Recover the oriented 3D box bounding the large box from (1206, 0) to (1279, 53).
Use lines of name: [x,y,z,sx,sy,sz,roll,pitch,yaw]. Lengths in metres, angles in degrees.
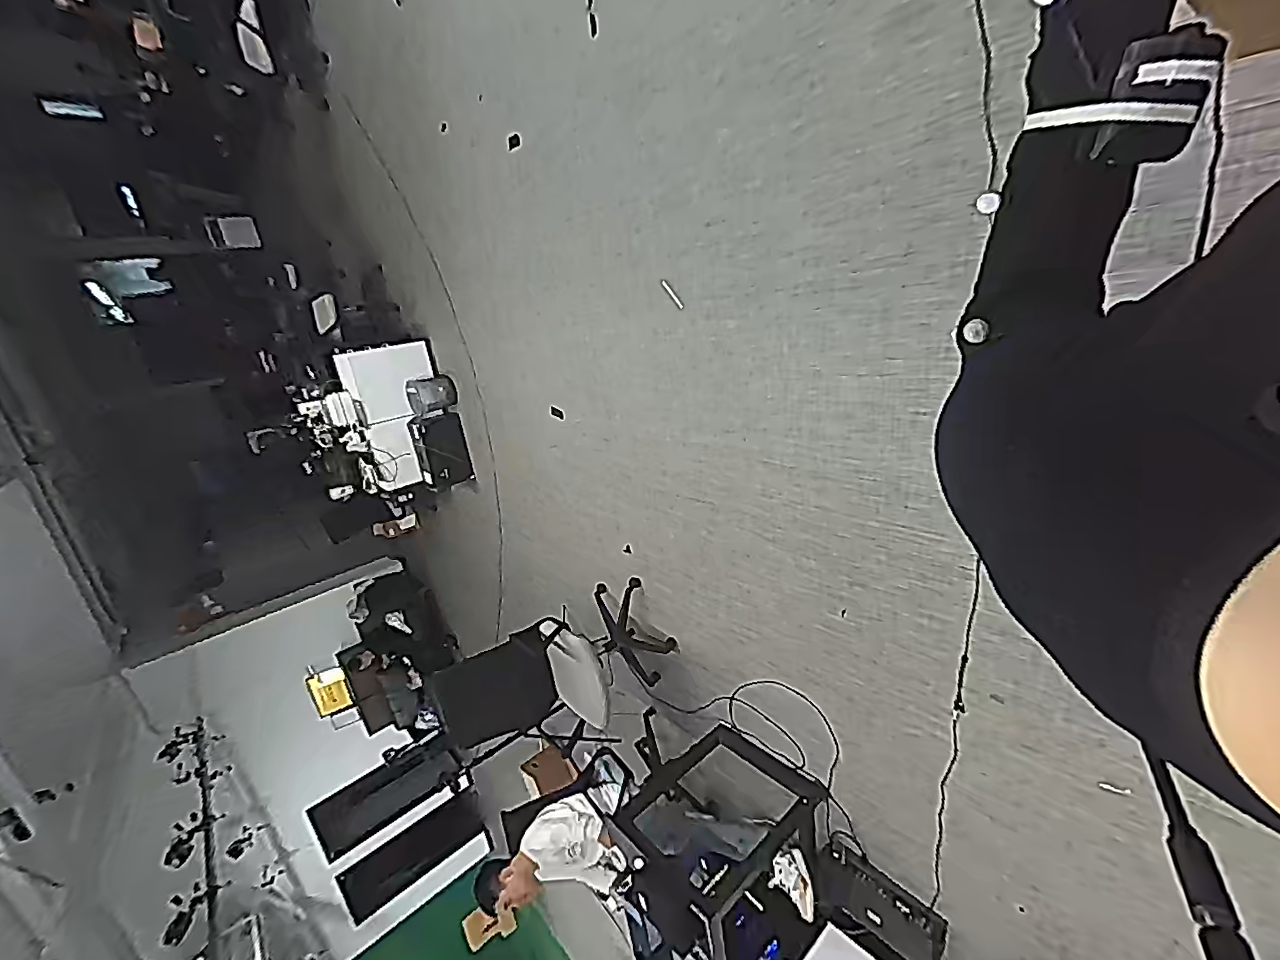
large box: [0.535,-0.443,0.207,0.408,0.320,0.320,17,121,46]
